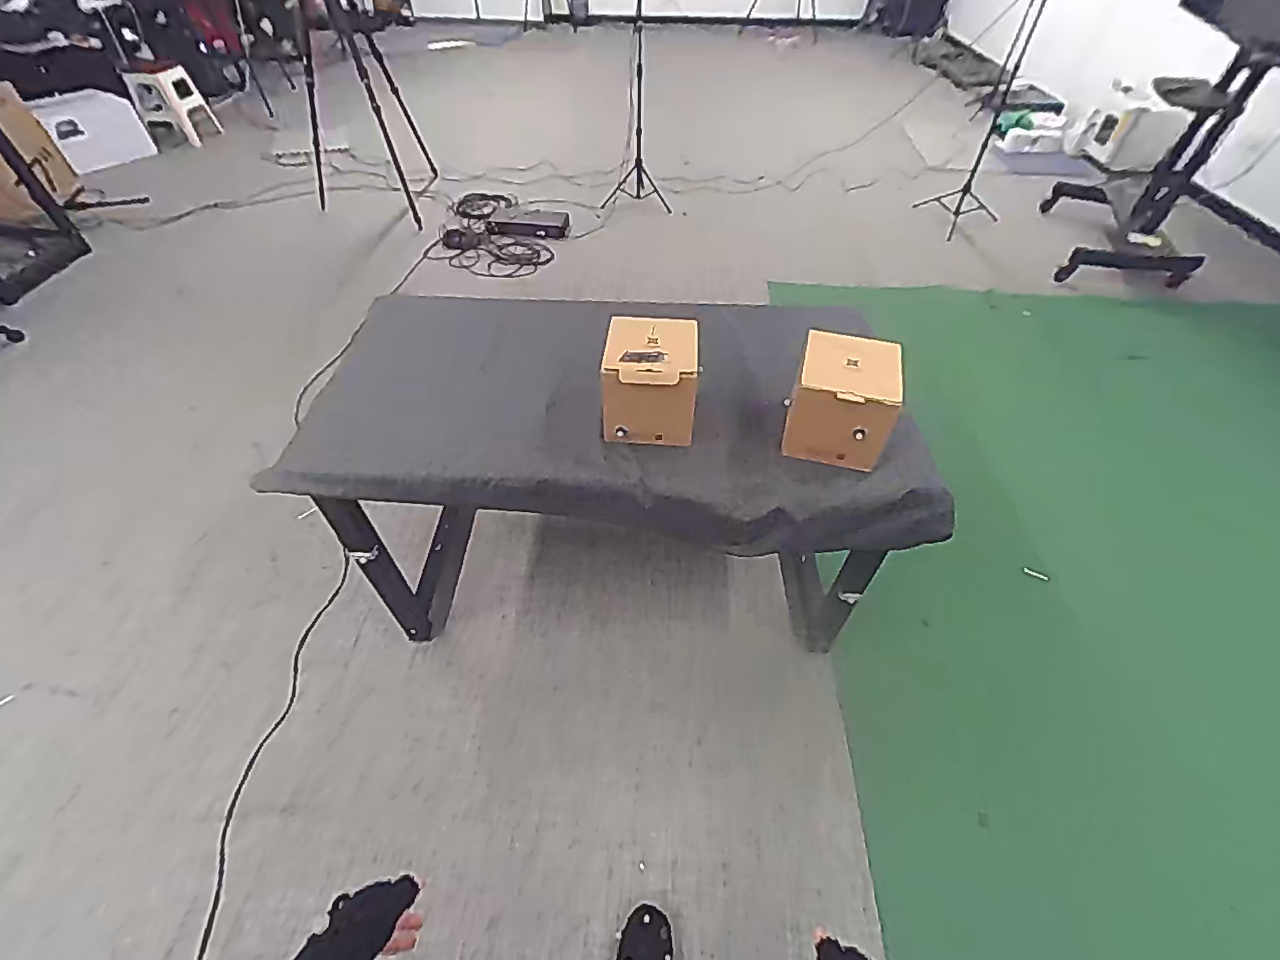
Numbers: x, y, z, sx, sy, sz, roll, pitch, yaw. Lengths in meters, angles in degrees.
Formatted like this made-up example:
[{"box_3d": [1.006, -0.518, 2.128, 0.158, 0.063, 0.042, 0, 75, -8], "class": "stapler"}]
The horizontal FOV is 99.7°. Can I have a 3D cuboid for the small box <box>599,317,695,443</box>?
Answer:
[{"box_3d": [0.017, -0.188, 1.029, 0.168, 0.176, 0.179, 3, 47, 2], "class": "small box"}]

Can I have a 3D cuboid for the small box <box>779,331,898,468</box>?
[{"box_3d": [0.360, -0.147, 0.998, 0.168, 0.176, 0.179, 13, 48, 9], "class": "small box"}]
